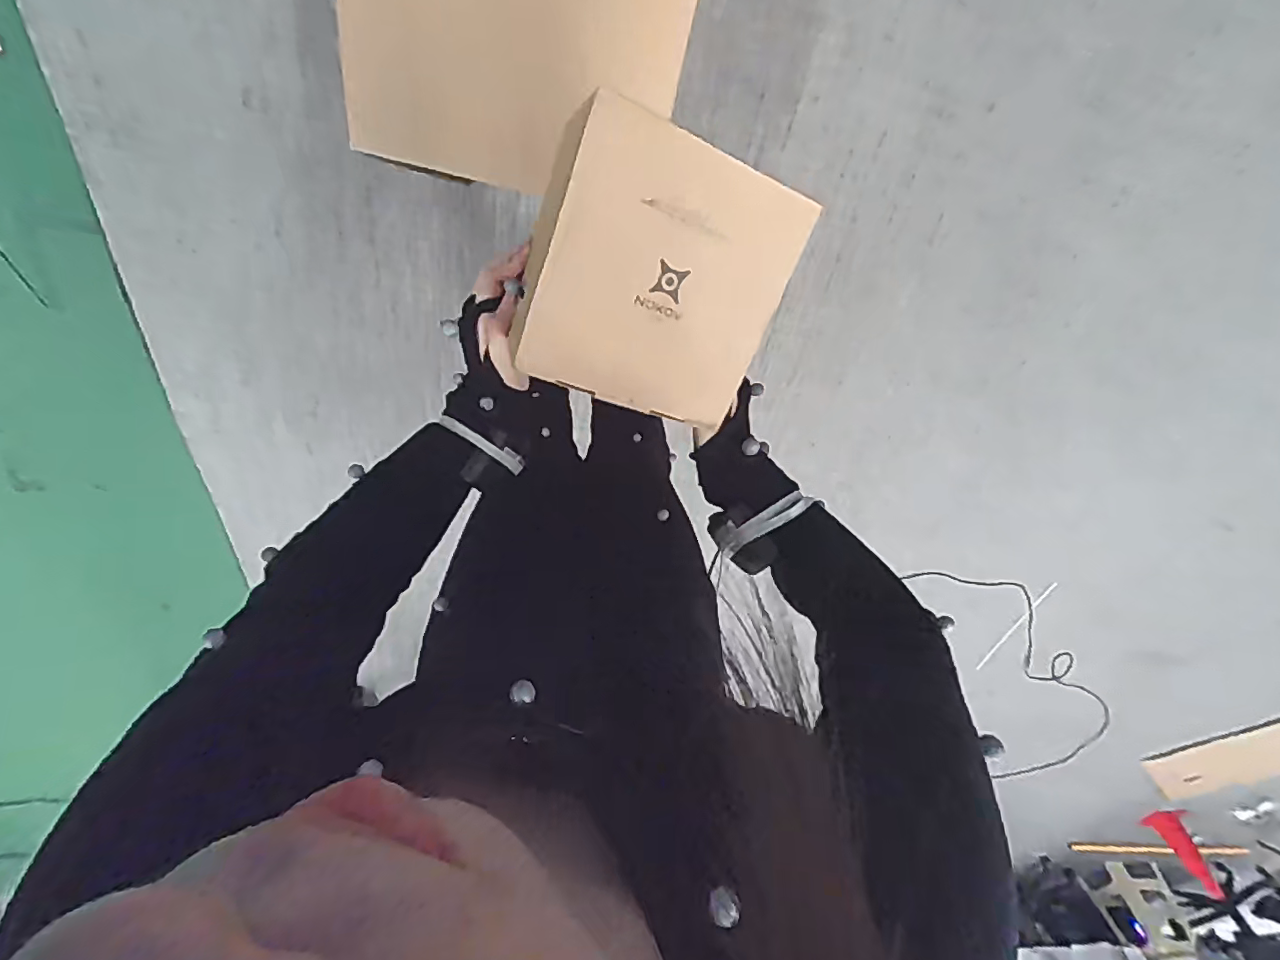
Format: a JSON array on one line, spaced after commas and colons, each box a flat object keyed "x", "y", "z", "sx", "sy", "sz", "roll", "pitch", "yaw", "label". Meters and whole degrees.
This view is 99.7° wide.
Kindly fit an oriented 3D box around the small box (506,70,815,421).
[{"x": -0.002, "y": -0.176, "z": 0.434, "sx": 0.168, "sy": 0.176, "sz": 0.179, "roll": 15, "pitch": 112, "yaw": -22, "label": "small box"}]
